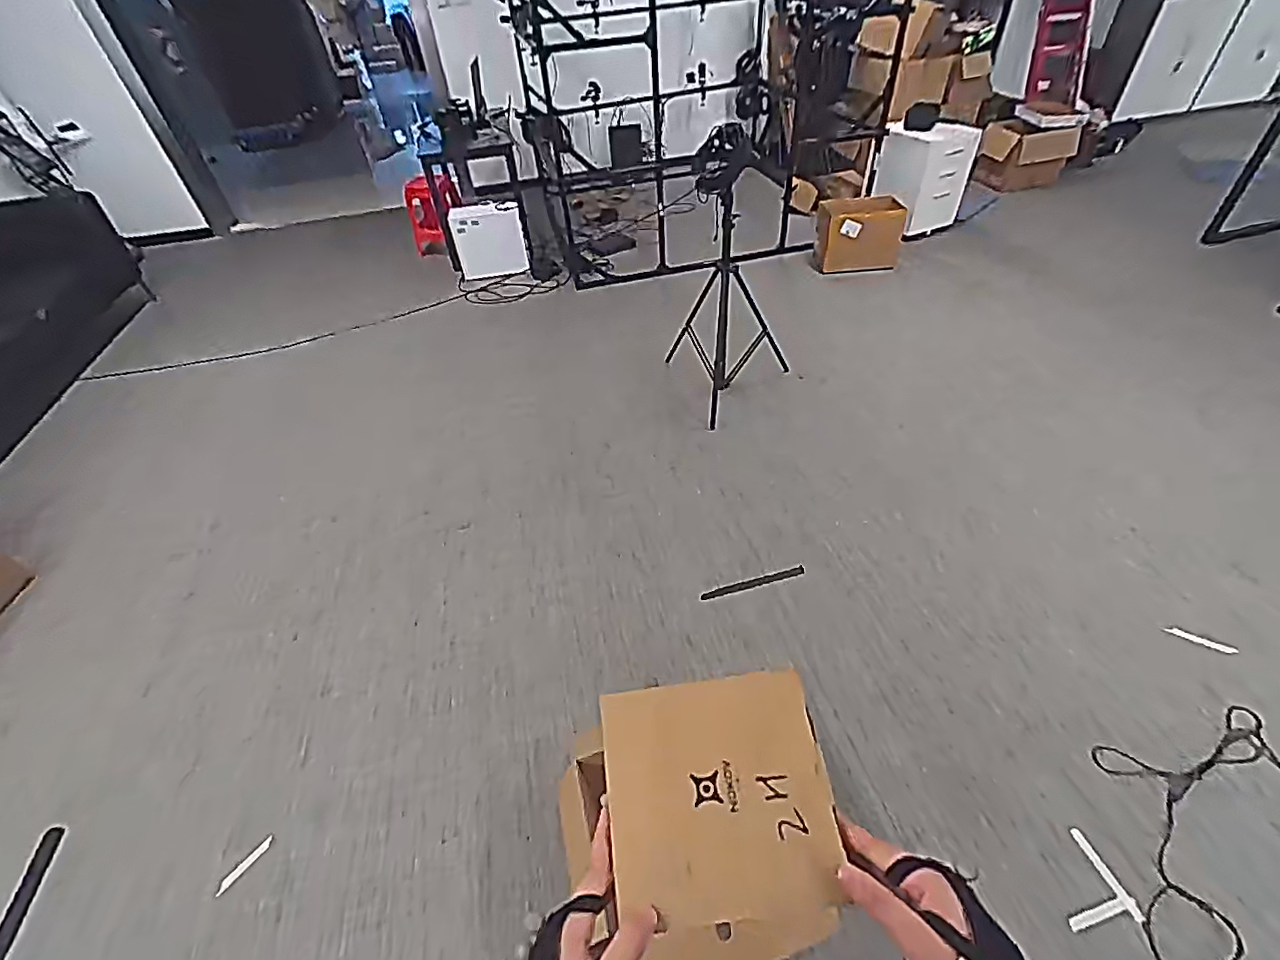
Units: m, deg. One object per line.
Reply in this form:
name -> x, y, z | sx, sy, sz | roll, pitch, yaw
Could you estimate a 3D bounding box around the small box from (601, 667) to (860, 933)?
small box -> 0.067, 0.281, 0.488 | 0.179, 0.176, 0.168 | -8, 59, -1
